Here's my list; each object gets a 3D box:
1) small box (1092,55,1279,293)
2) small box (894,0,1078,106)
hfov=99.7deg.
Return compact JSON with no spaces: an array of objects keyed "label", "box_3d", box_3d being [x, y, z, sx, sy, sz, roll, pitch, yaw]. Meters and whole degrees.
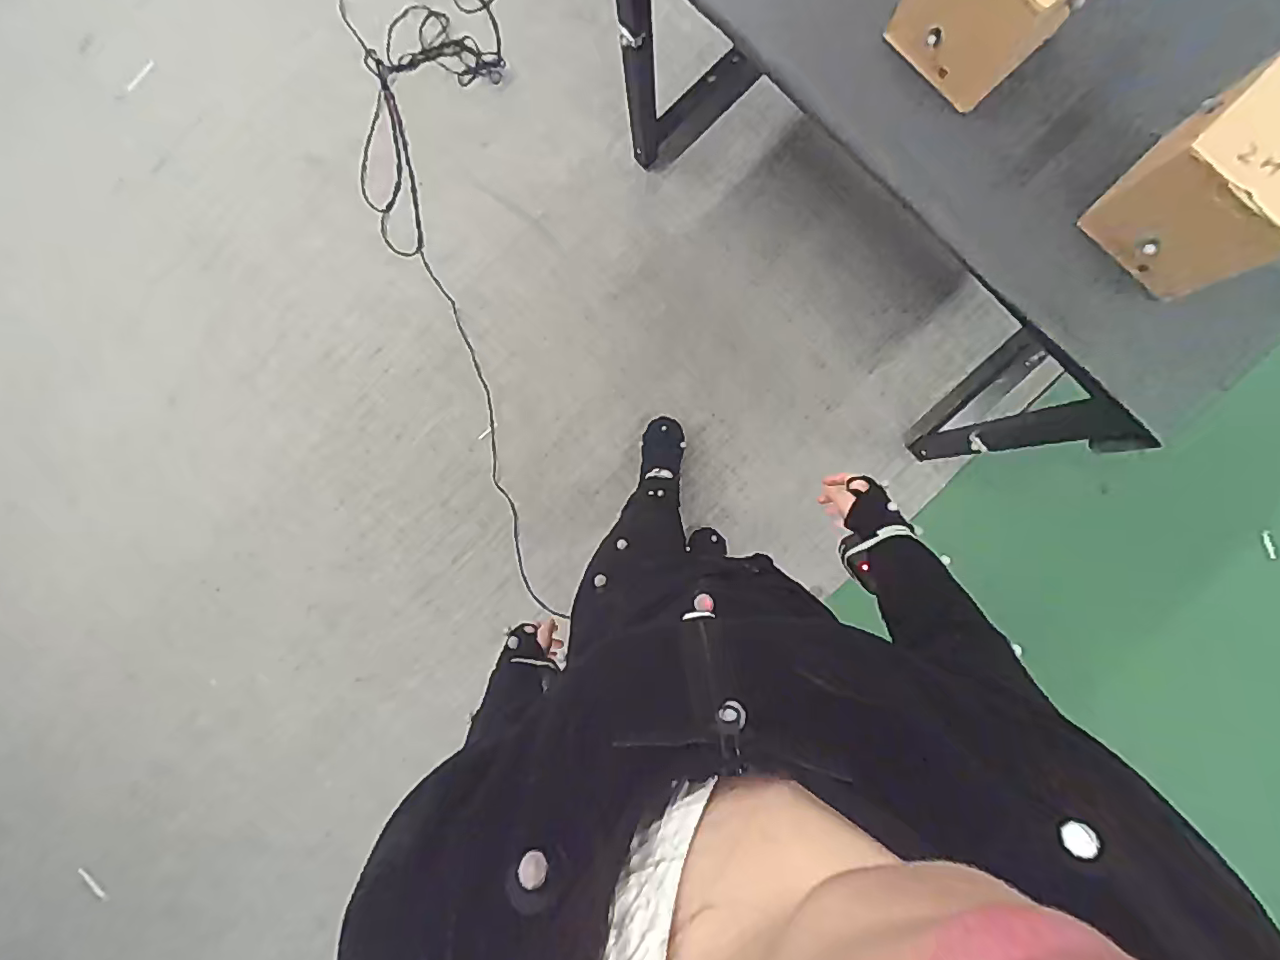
[{"label":"small box","box_3d":[0.726,-0.369,0.661,0.179,0.176,0.168,-45,85,2]},{"label":"small box","box_3d":[0.468,-0.643,0.689,0.179,0.176,0.168,-43,87,2]}]
